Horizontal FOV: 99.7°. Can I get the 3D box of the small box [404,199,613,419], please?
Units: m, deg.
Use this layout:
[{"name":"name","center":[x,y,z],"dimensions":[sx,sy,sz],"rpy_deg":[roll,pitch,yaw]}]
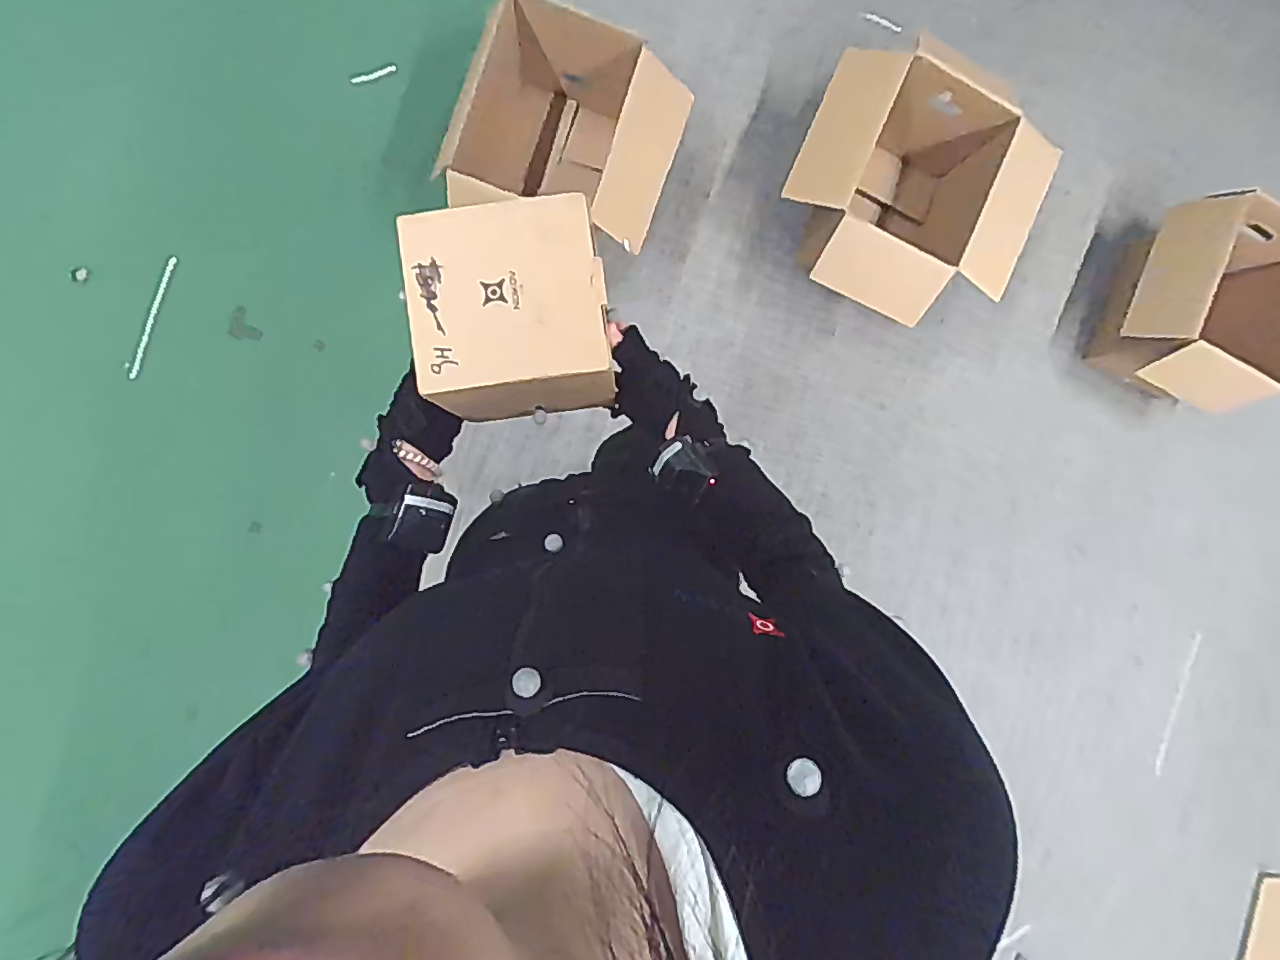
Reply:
[{"name":"small box","center":[-0.124,-0.165,0.570],"dimensions":[0.179,0.176,0.168],"rpy_deg":[-7,87,-3]}]
